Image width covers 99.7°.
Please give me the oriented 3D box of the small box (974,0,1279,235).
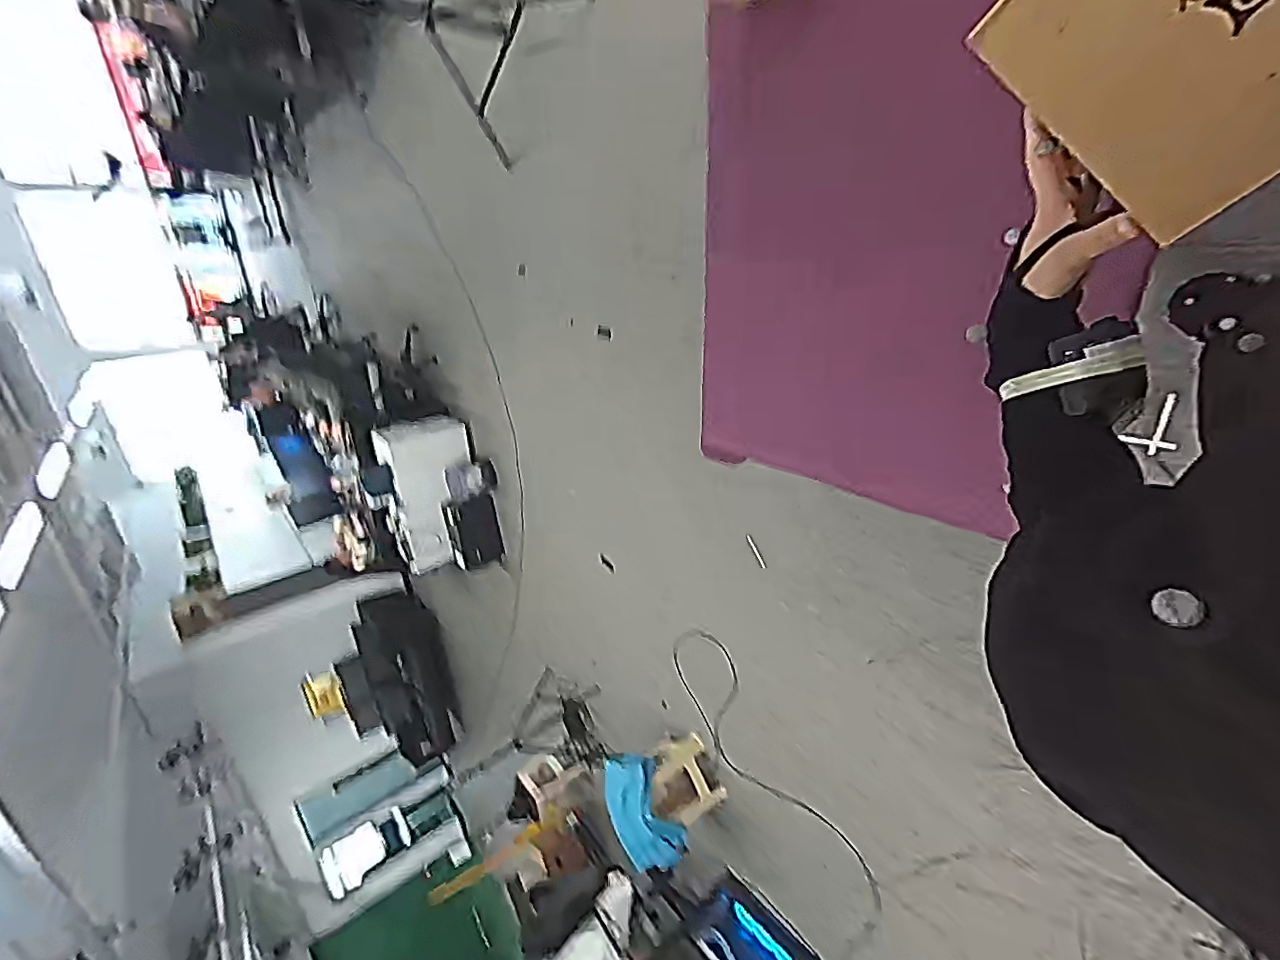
[{"bbox_3d":[0.333,-0.280,0.311,0.179,0.176,0.168,47,139,-1],"label":"small box"}]
